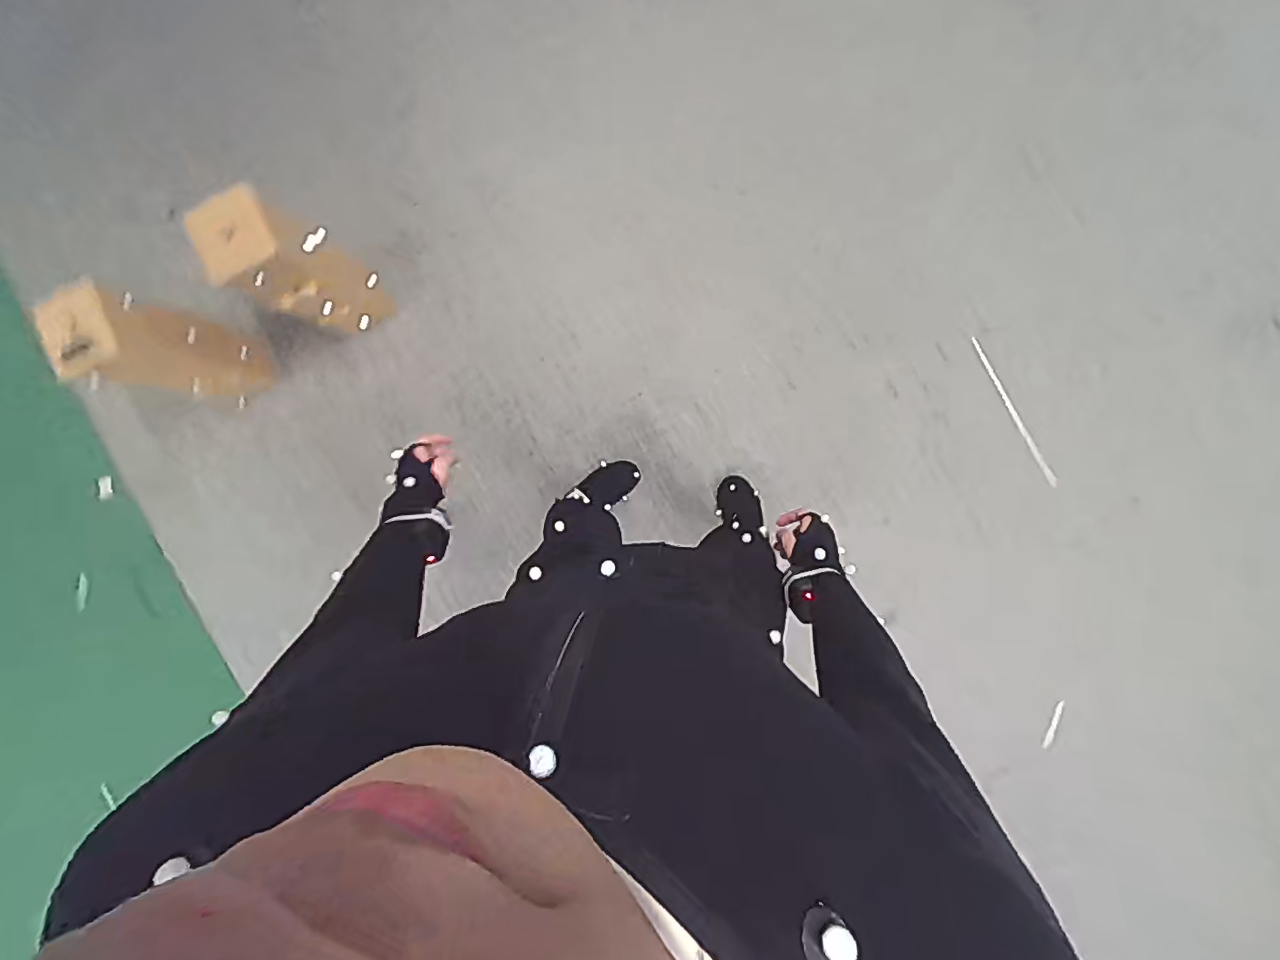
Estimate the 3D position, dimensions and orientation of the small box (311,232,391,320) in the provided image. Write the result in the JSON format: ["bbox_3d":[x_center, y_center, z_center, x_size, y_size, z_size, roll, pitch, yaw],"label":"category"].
[{"bbox_3d":[-0.859,-0.581,1.562,0.168,0.176,0.179,-25,92,6],"label":"small box"}]

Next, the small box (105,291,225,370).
[{"bbox_3d":[-1.272,-0.394,1.454,0.179,0.176,0.168,9,96,5],"label":"small box"}]

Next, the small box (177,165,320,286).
[{"bbox_3d":[-0.884,-0.569,1.236,0.179,0.176,0.168,-21,92,5],"label":"small box"}]
